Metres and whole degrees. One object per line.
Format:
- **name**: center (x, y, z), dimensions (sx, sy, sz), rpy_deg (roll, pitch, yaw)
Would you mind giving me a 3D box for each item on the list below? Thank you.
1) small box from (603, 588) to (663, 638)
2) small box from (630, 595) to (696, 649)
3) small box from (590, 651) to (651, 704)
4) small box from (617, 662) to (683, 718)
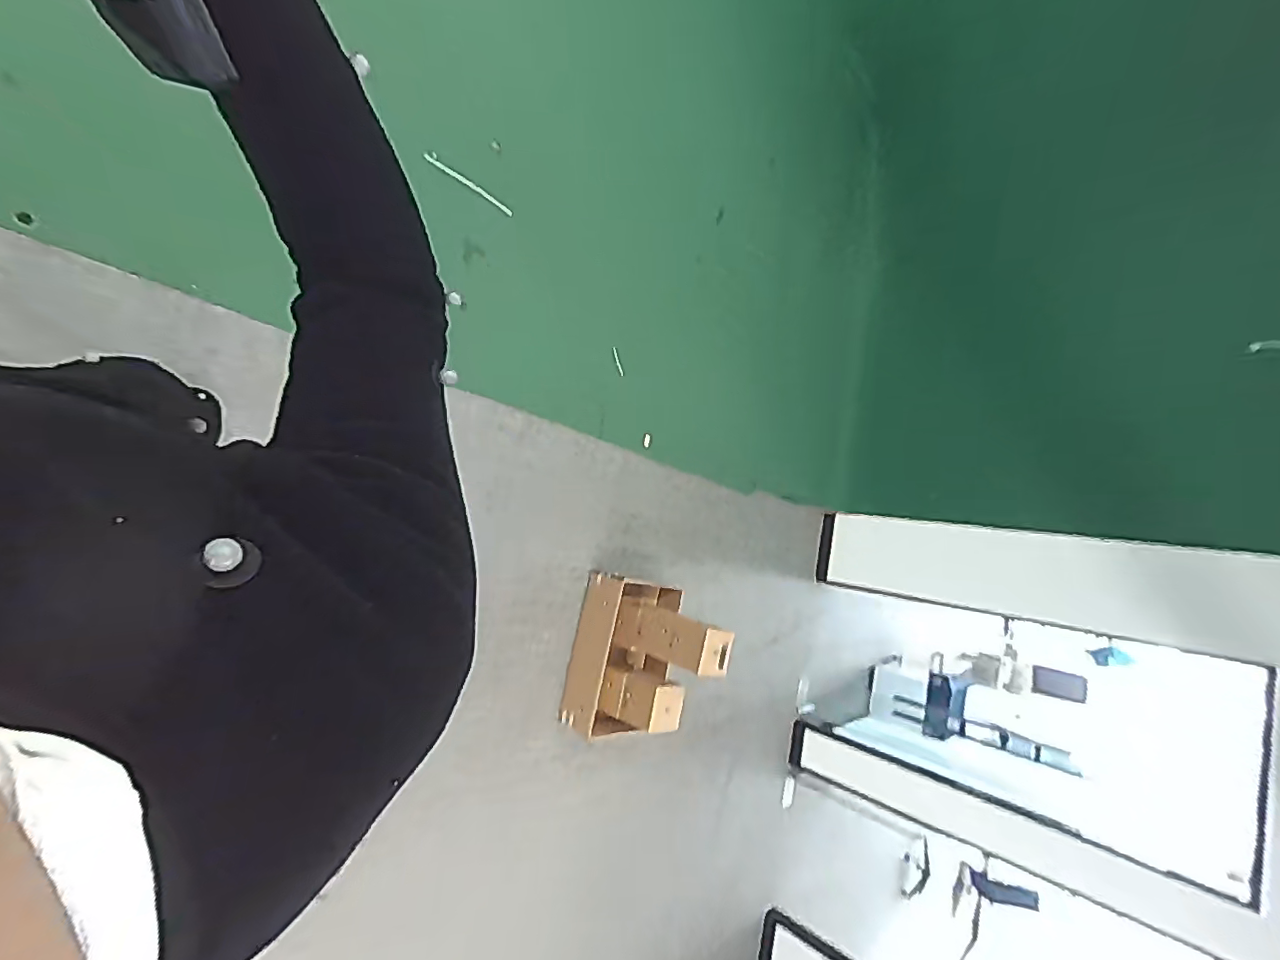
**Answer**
- **small box**: center (-0.029, 0.554, 2.255), dimensions (0.179, 0.176, 0.168), rpy_deg (16, 84, -45)
- **small box**: center (0.091, 0.562, 2.143), dimensions (0.179, 0.176, 0.168), rpy_deg (24, 77, -45)
- **small box**: center (-0.083, 0.808, 2.226), dimensions (0.179, 0.176, 0.168), rpy_deg (17, 81, -45)
- **small box**: center (0.037, 0.817, 2.116), dimensions (0.179, 0.176, 0.168), rpy_deg (20, 78, -45)
